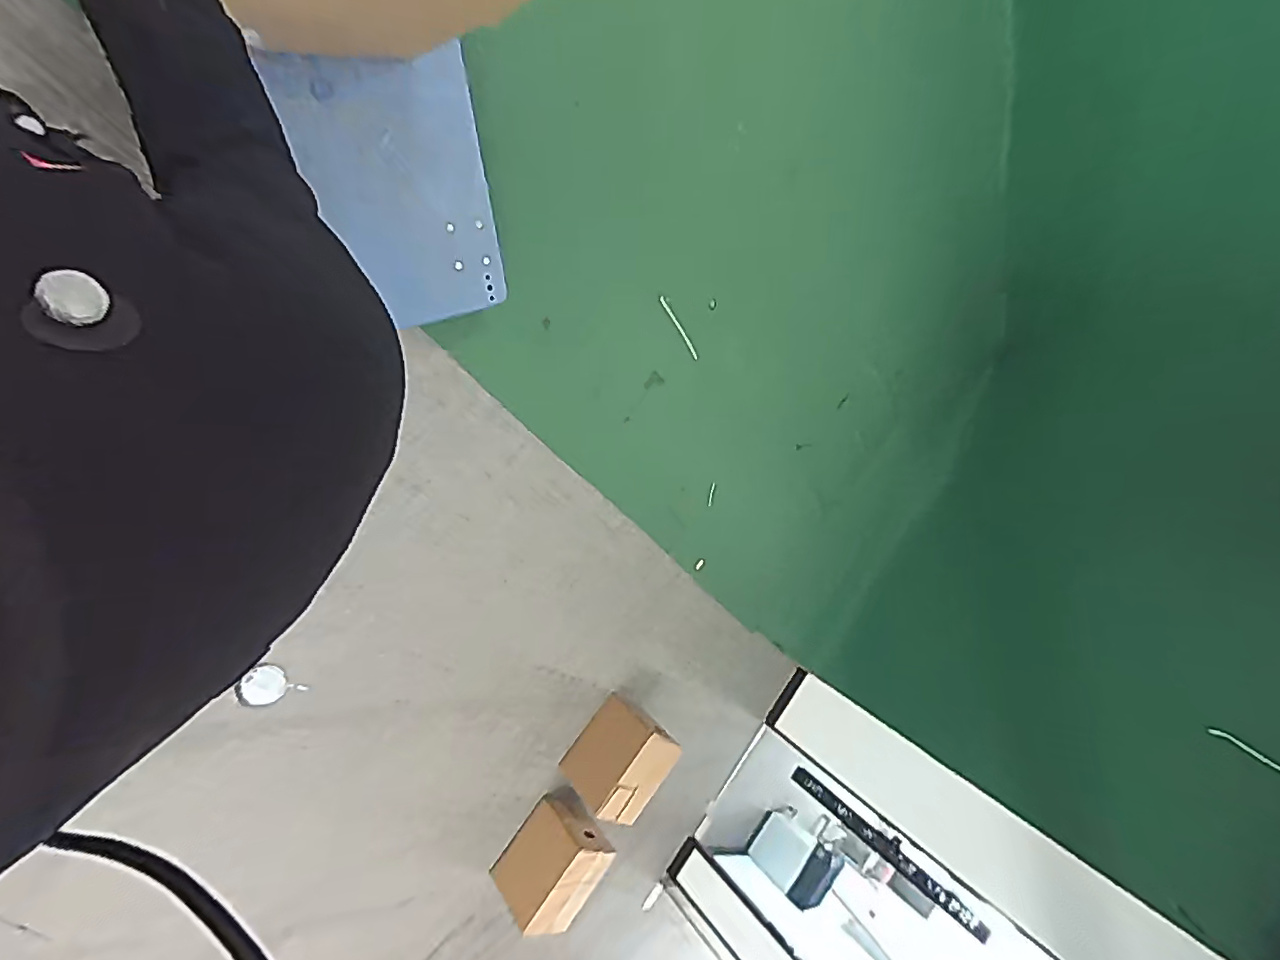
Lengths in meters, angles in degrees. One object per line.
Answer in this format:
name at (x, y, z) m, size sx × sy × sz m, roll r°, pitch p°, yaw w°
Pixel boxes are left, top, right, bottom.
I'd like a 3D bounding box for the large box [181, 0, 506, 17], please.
large box at (-0.308, -0.713, 0.544) m, size 0.408 × 0.320 × 0.320 m, roll -29°, pitch 124°, yaw -32°
